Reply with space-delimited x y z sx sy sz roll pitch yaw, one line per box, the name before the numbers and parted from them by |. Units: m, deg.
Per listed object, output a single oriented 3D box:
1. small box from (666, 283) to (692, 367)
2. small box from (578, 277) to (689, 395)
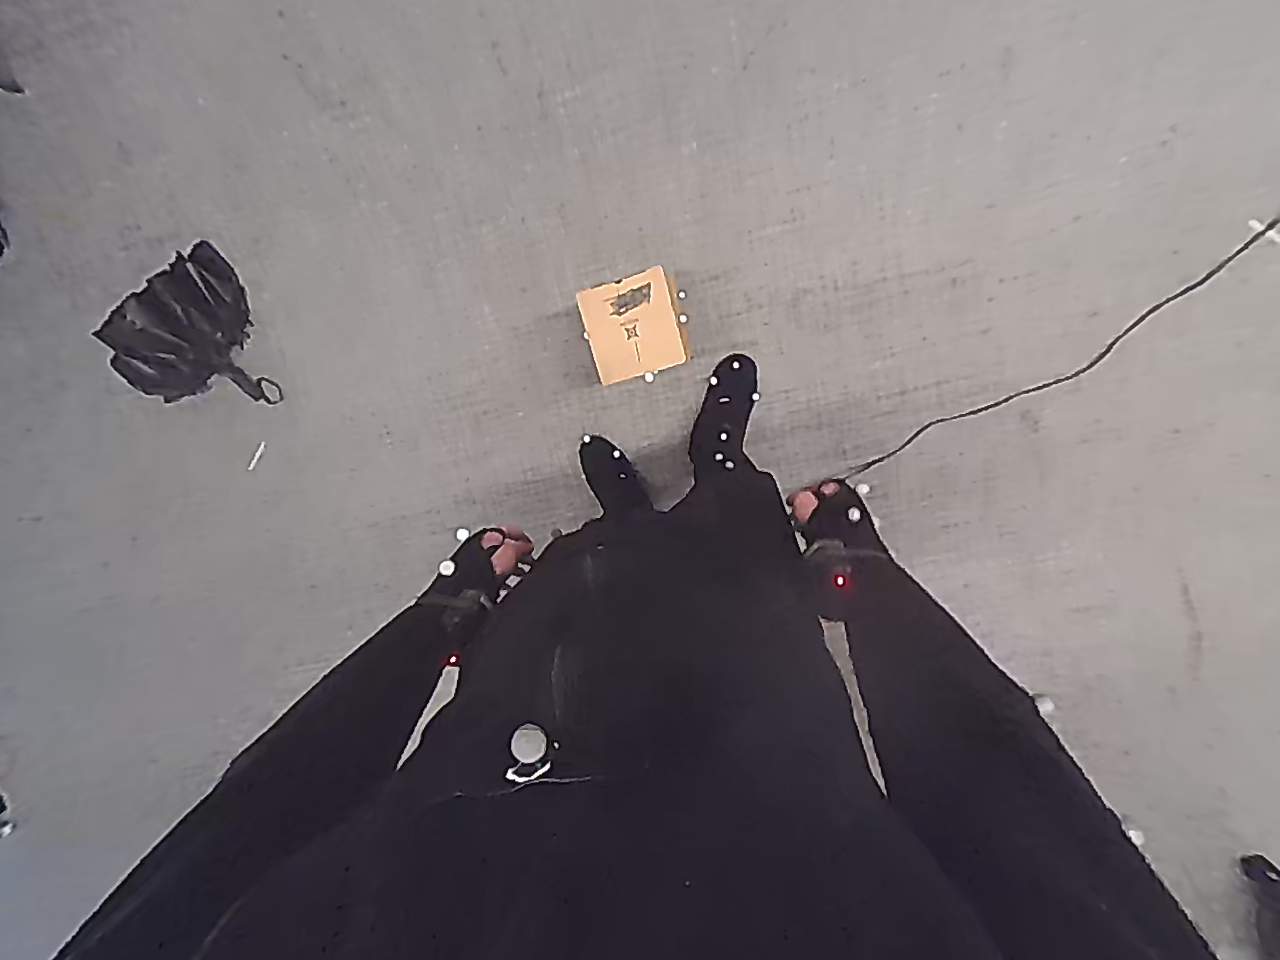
small box | 0.017 -0.323 1.212 0.168 0.176 0.179 -14 103 11
small box | -0.005 -0.276 1.056 0.168 0.176 0.179 -14 102 11
